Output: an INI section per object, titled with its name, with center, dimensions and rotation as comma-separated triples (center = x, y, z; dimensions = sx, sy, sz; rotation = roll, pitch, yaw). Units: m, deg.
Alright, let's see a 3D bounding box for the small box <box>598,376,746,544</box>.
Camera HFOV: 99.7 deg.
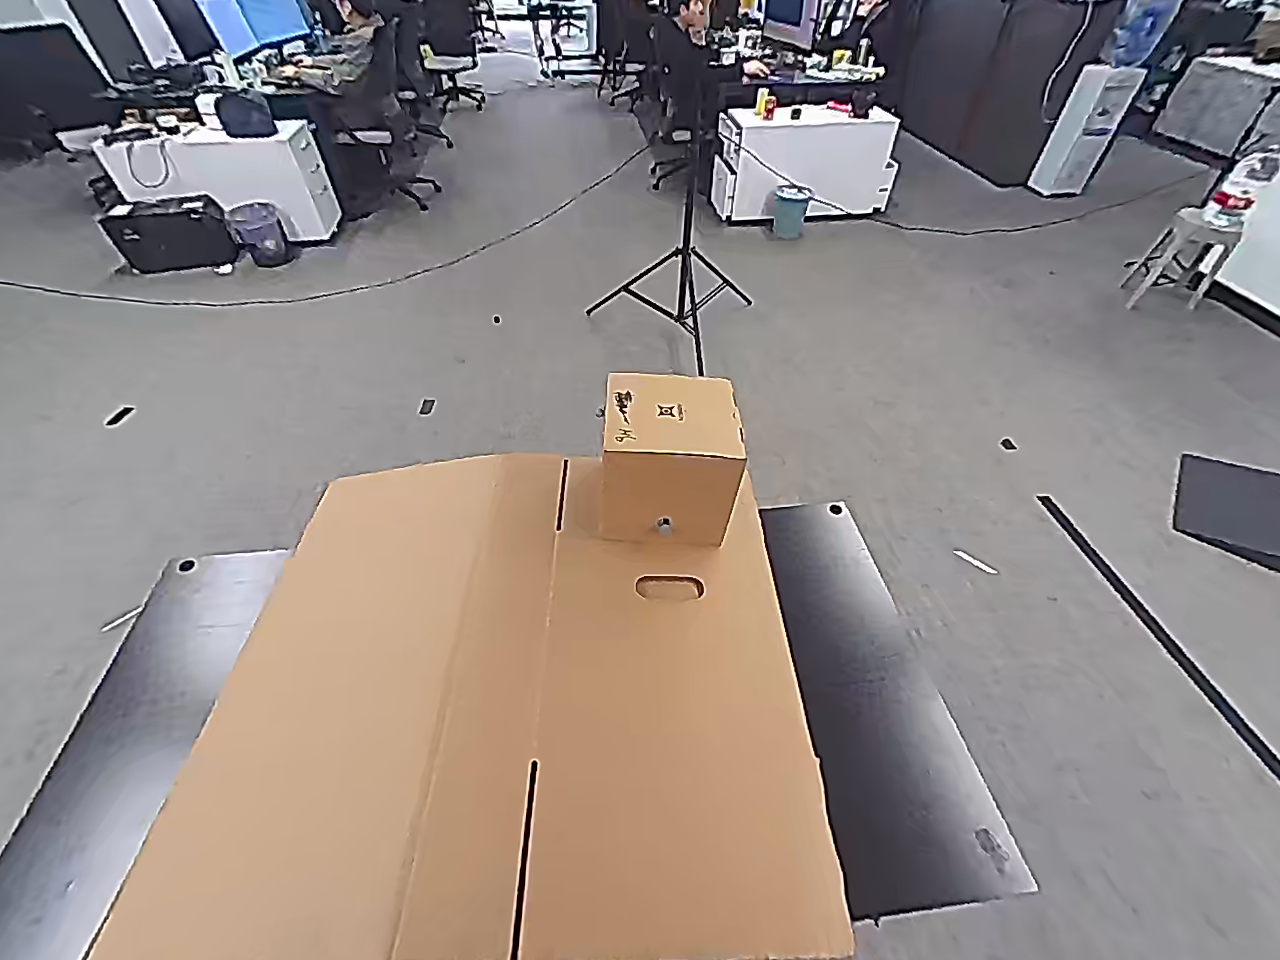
[small box]
center = 0.036, -0.025, 0.762
dimensions = 0.179, 0.176, 0.168
rotation = 3, 44, -4
